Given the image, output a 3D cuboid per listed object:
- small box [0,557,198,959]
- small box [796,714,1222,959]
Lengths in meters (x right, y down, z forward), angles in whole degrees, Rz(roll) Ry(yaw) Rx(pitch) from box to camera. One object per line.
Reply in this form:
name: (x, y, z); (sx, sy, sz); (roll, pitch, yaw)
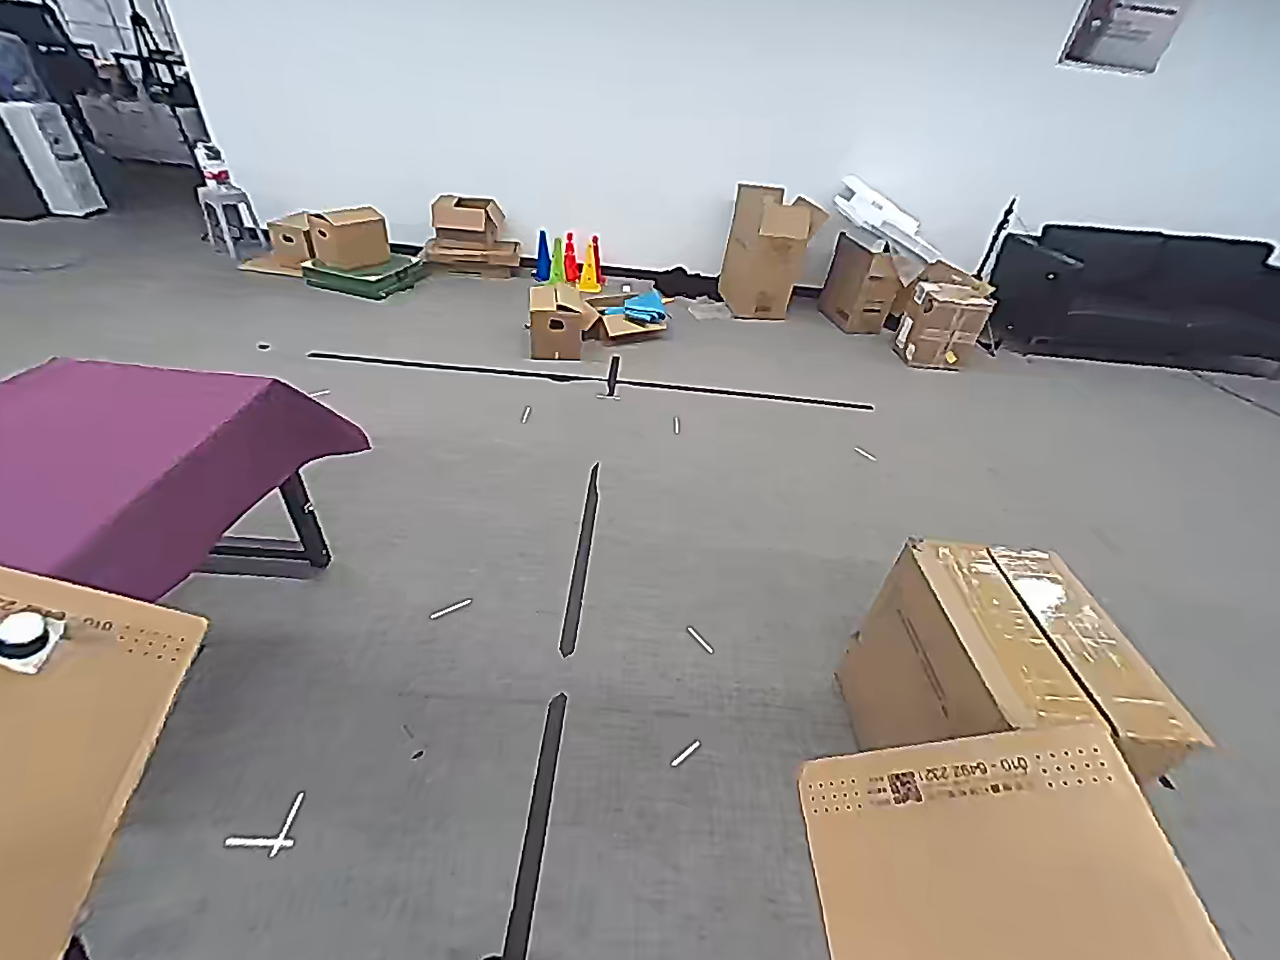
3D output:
small box: (-0.359, 0.152, 0.260); (0.168, 0.179, 0.176); (29, 28, -35)
small box: (0.208, 0.248, 0.316); (0.168, 0.179, 0.176); (-22, 48, 22)
